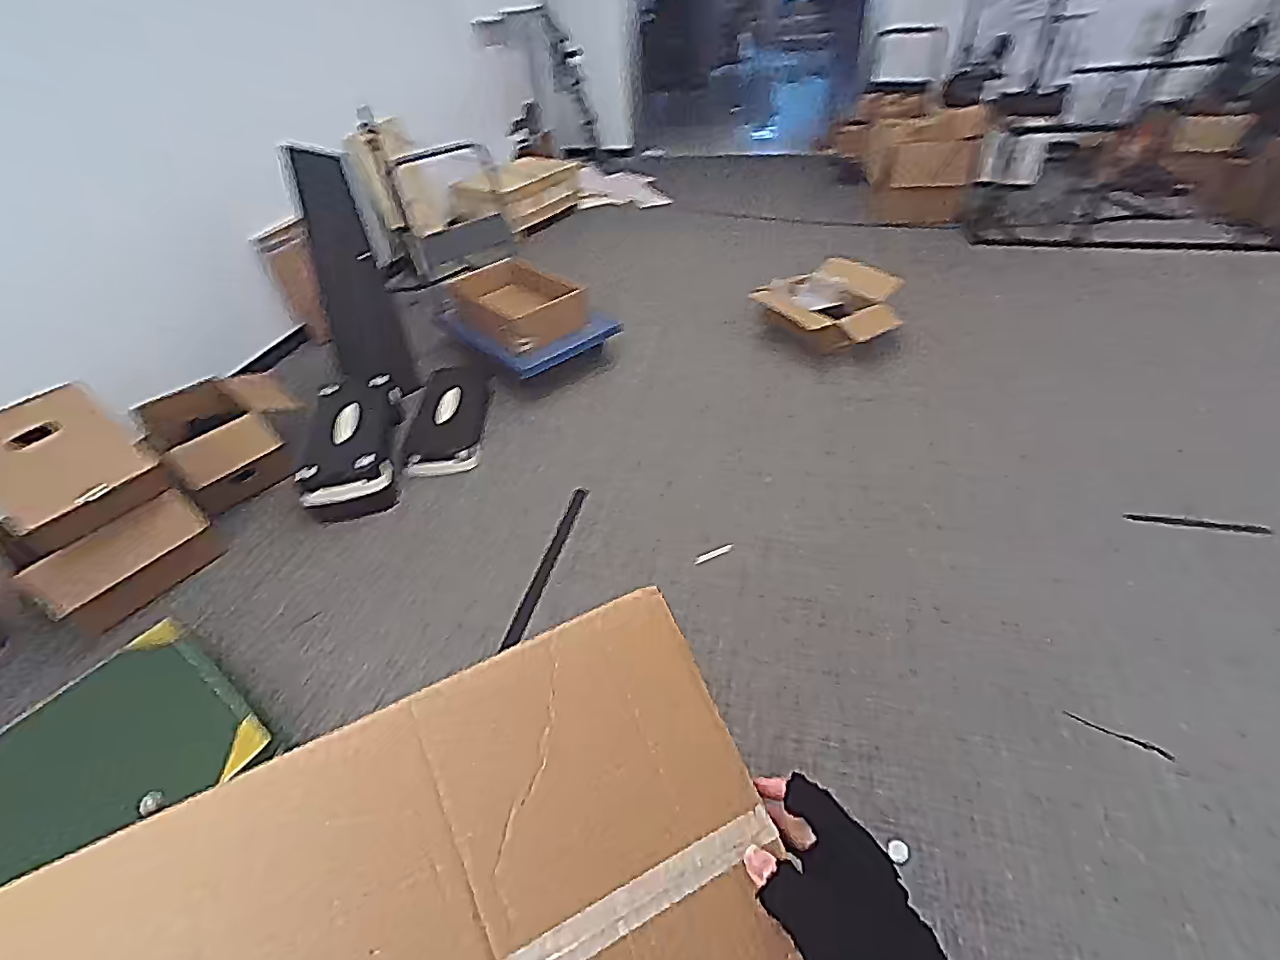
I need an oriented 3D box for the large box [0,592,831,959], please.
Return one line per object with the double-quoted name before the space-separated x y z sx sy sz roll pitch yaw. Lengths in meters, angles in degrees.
"large box" -0.118 0.331 0.429 0.408 0.320 0.320 -22 76 -13
